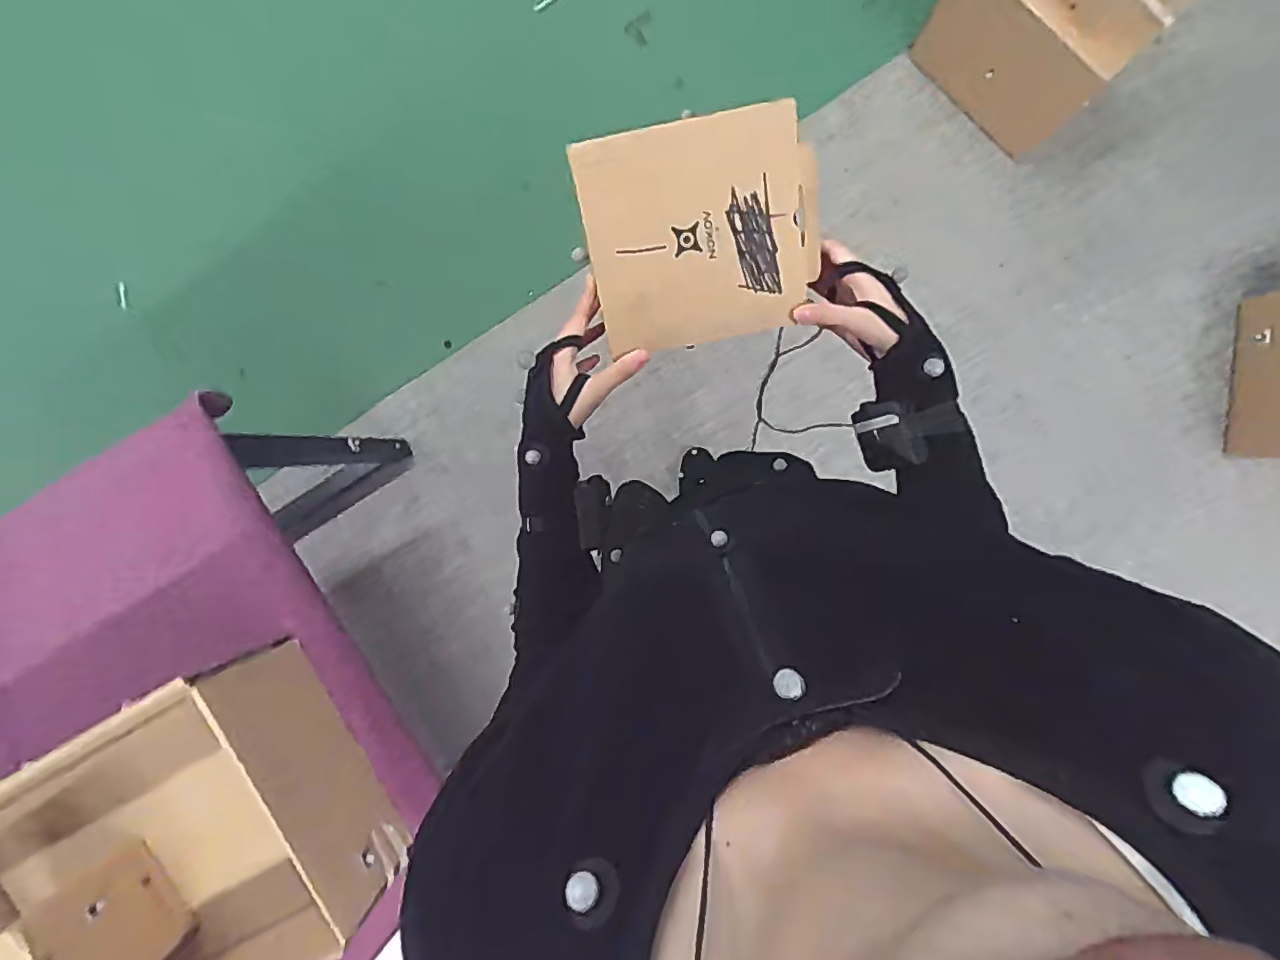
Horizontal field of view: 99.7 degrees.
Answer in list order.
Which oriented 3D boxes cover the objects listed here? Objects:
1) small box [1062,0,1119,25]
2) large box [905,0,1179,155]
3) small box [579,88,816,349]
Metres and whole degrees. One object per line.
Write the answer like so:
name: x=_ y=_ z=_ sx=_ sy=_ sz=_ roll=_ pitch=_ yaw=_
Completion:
small box: x=0.896 y=-1.013 z=0.999 sx=0.179 sy=0.176 sz=0.168 roll=-40 pitch=90 yaw=6
large box: x=0.916 y=-1.067 z=1.241 sx=0.408 sy=0.320 sz=0.320 roll=44 pitch=94 yaw=2
small box: x=0.044 y=-0.229 z=0.496 sx=0.179 sy=0.176 sz=0.168 roll=-11 pitch=113 yaw=-1
